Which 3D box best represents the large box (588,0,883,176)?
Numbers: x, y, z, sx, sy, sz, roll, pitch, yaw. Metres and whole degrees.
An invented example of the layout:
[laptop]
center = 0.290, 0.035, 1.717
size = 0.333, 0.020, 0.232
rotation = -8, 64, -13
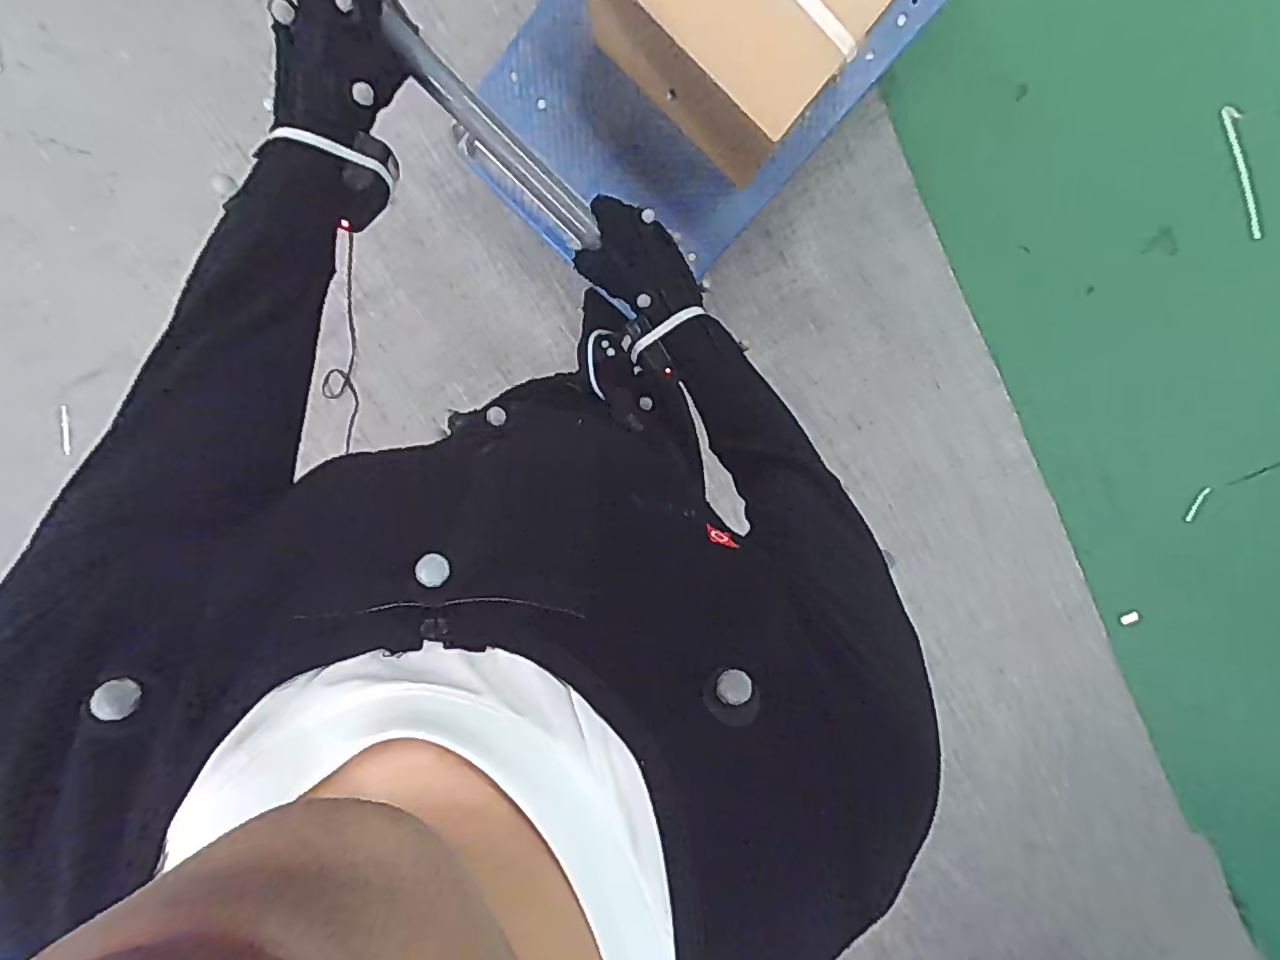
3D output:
[large box]
center = 0.155, -0.811, 0.911
size = 0.408, 0.320, 0.320
rotation = 40, 102, -10
